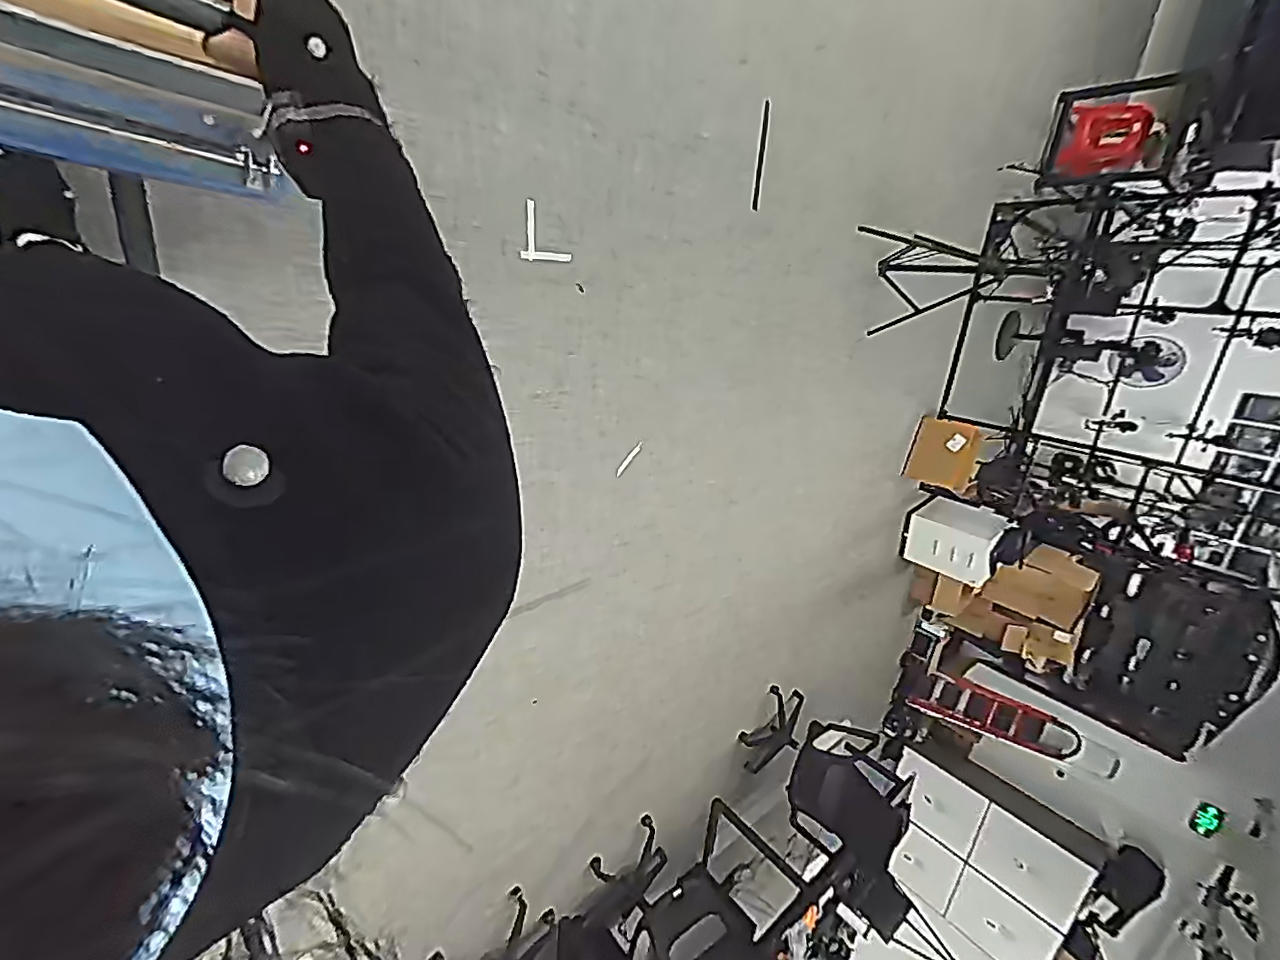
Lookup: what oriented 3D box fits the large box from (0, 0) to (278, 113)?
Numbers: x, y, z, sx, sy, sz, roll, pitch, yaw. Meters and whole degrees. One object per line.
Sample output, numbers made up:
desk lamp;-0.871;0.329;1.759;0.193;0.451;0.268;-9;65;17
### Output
large box;-0.746;-0.721;0.687;0.408;0.320;0.320;-12;116;-42
